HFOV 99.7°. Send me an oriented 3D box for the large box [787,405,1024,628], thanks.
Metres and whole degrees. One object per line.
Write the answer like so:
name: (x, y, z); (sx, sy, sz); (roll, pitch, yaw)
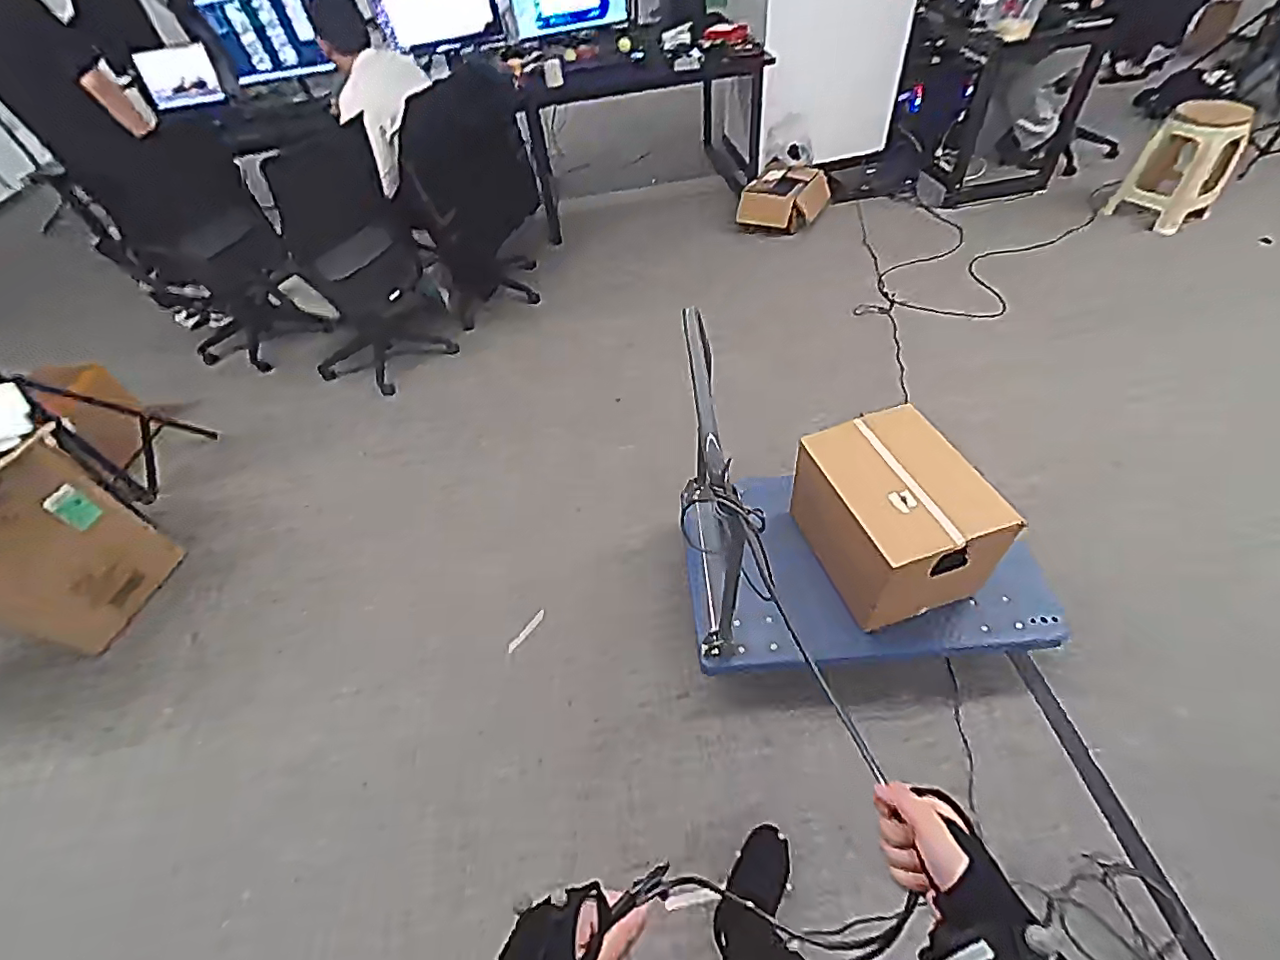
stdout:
large box: (0.608, 0.086, 1.341); (0.320, 0.320, 0.408); (-18, 51, -6)
